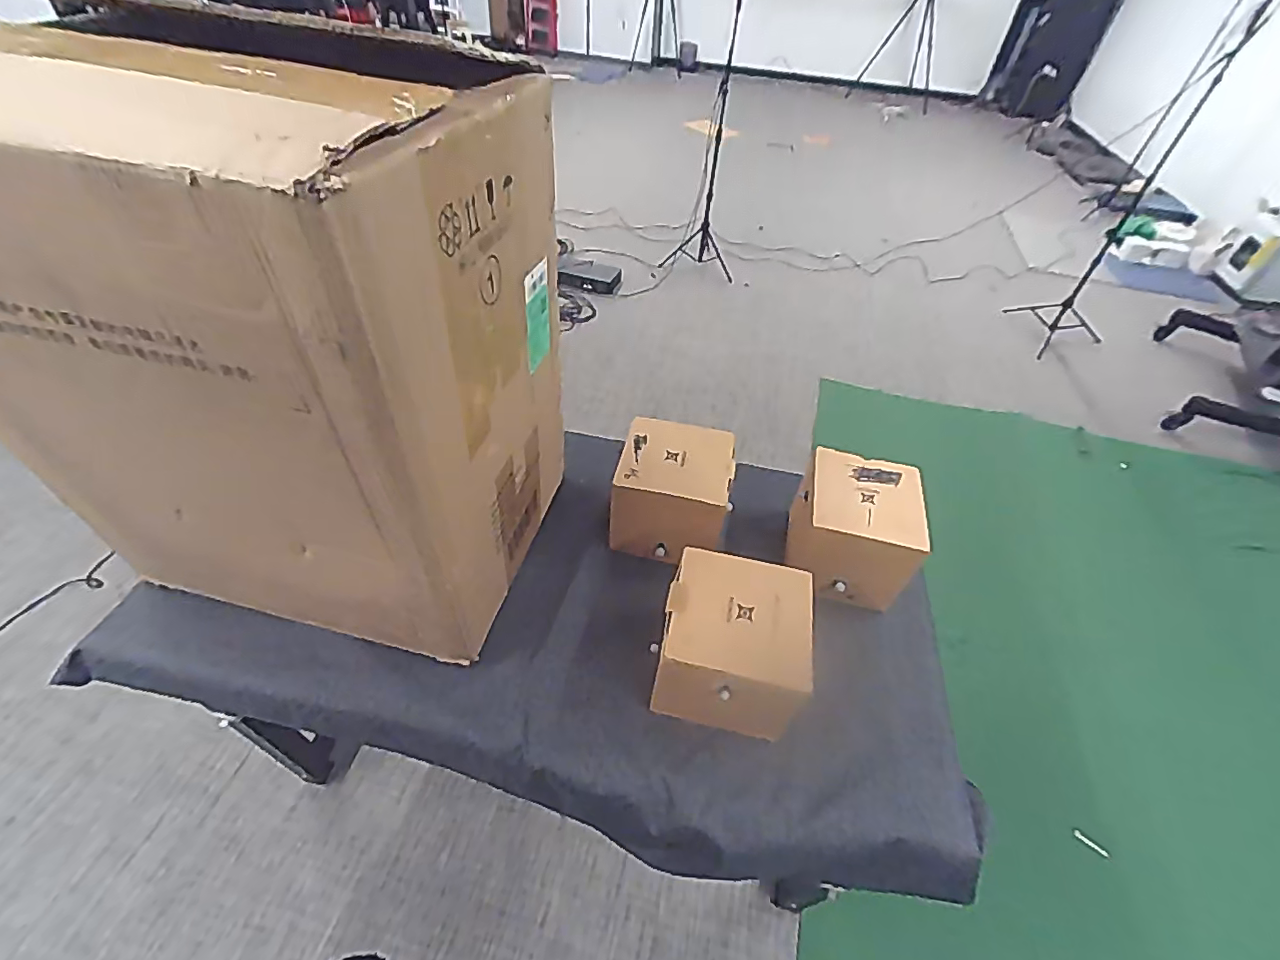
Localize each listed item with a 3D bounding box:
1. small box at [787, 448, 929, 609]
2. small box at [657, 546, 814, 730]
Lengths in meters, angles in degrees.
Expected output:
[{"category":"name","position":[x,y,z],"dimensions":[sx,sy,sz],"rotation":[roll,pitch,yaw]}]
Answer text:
[{"category":"small box","position":[0.346,0.080,0.886],"dimensions":[0.168,0.176,0.179],"rotation":[13,47,8]},{"category":"small box","position":[0.125,0.218,0.737],"dimensions":[0.179,0.176,0.168],"rotation":[12,48,5]}]
